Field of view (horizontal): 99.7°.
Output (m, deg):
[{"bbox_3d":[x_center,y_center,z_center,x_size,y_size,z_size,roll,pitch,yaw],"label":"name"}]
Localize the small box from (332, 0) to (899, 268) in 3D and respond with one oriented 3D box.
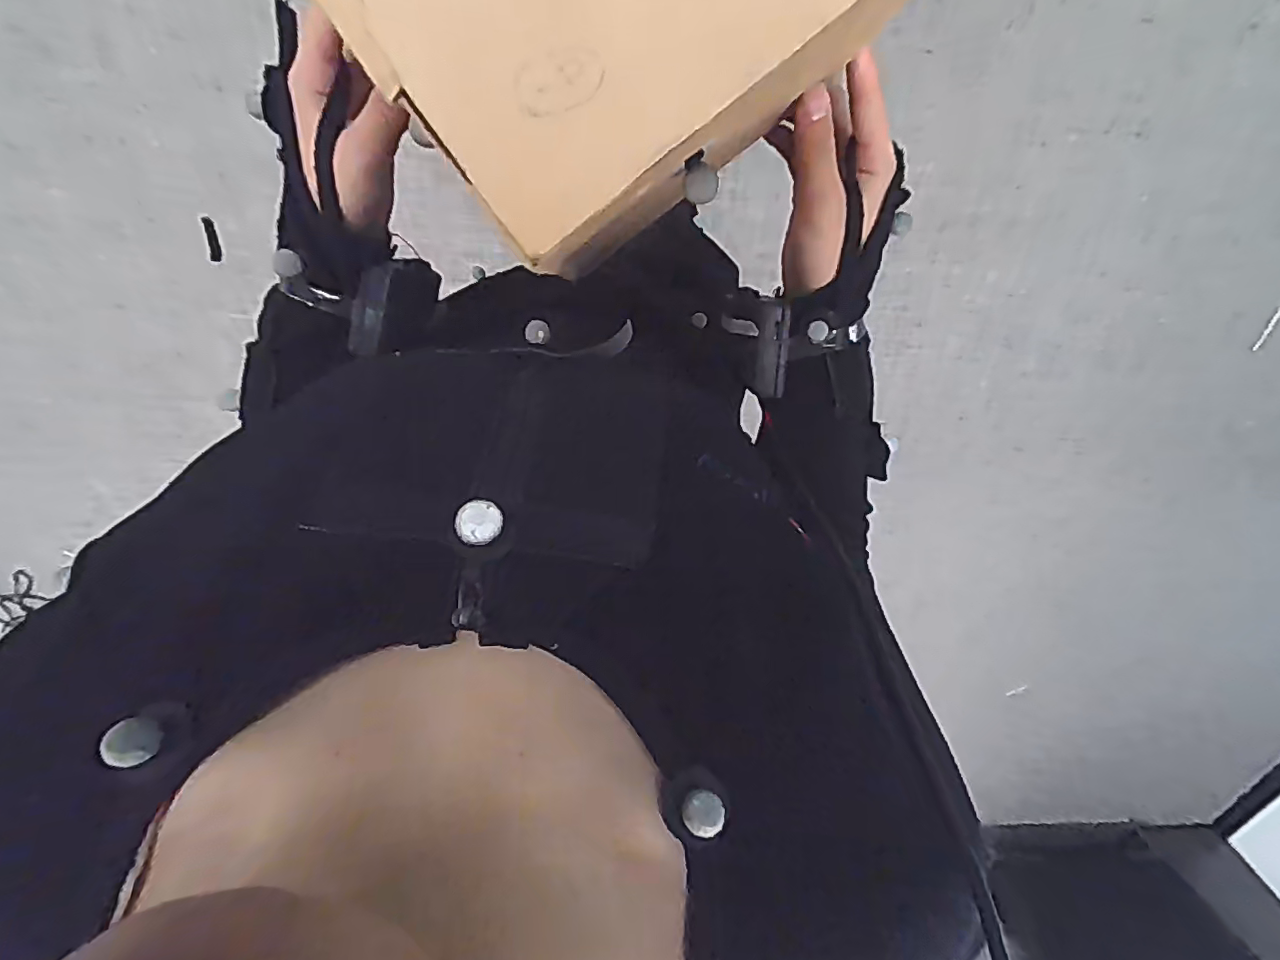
[{"bbox_3d":[-0.012,-0.203,0.212,0.179,0.176,0.168,-34,106,10],"label":"small box"}]
